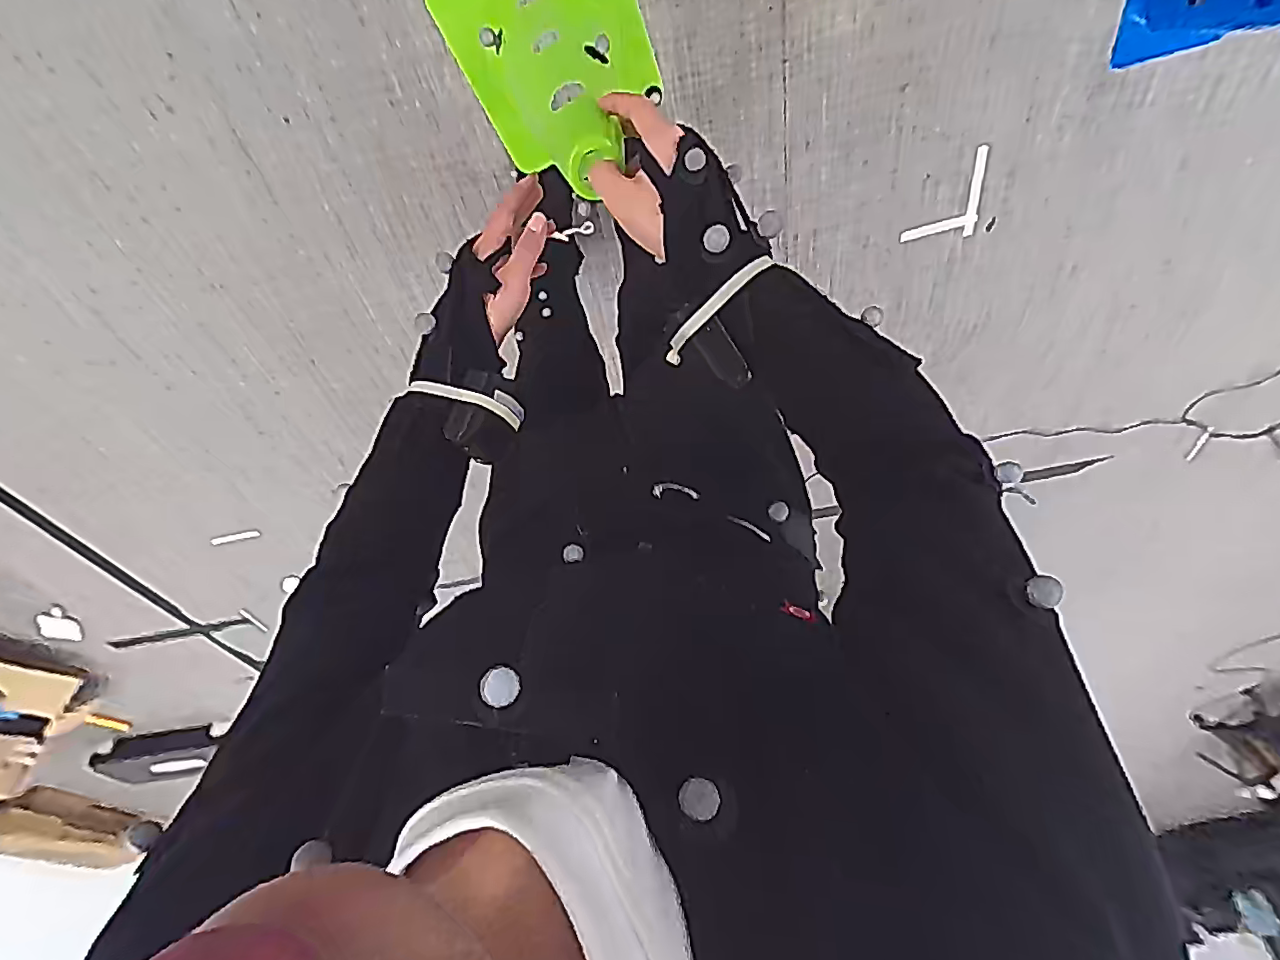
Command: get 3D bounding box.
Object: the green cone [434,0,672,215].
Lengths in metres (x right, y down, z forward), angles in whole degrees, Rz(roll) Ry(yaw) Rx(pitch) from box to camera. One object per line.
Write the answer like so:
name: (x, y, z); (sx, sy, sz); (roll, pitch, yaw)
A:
green cone: (-0.056, -0.332, 0.470); (0.202, 0.368, 0.200); (-22, 138, 11)
